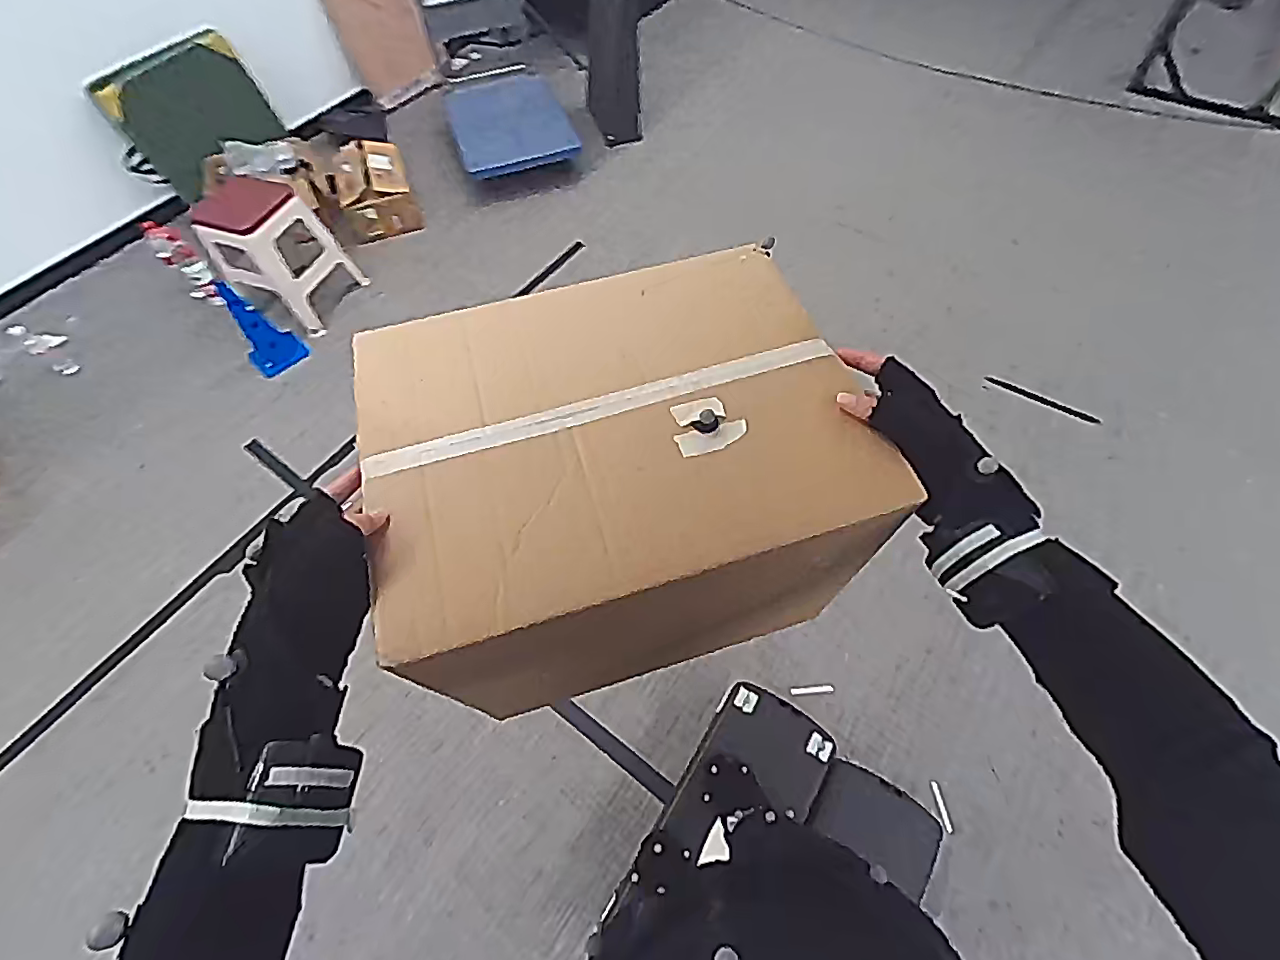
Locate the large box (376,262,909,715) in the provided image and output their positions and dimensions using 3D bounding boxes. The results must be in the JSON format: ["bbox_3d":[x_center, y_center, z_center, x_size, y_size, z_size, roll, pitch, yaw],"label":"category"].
[{"bbox_3d":[-0.018,0.023,0.597,0.408,0.320,0.320,-15,61,-8],"label":"large box"}]

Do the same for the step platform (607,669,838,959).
[{"bbox_3d":[0.212,0.813,1.301,0.286,0.204,0.684,28,64,18],"label":"step platform"}]
